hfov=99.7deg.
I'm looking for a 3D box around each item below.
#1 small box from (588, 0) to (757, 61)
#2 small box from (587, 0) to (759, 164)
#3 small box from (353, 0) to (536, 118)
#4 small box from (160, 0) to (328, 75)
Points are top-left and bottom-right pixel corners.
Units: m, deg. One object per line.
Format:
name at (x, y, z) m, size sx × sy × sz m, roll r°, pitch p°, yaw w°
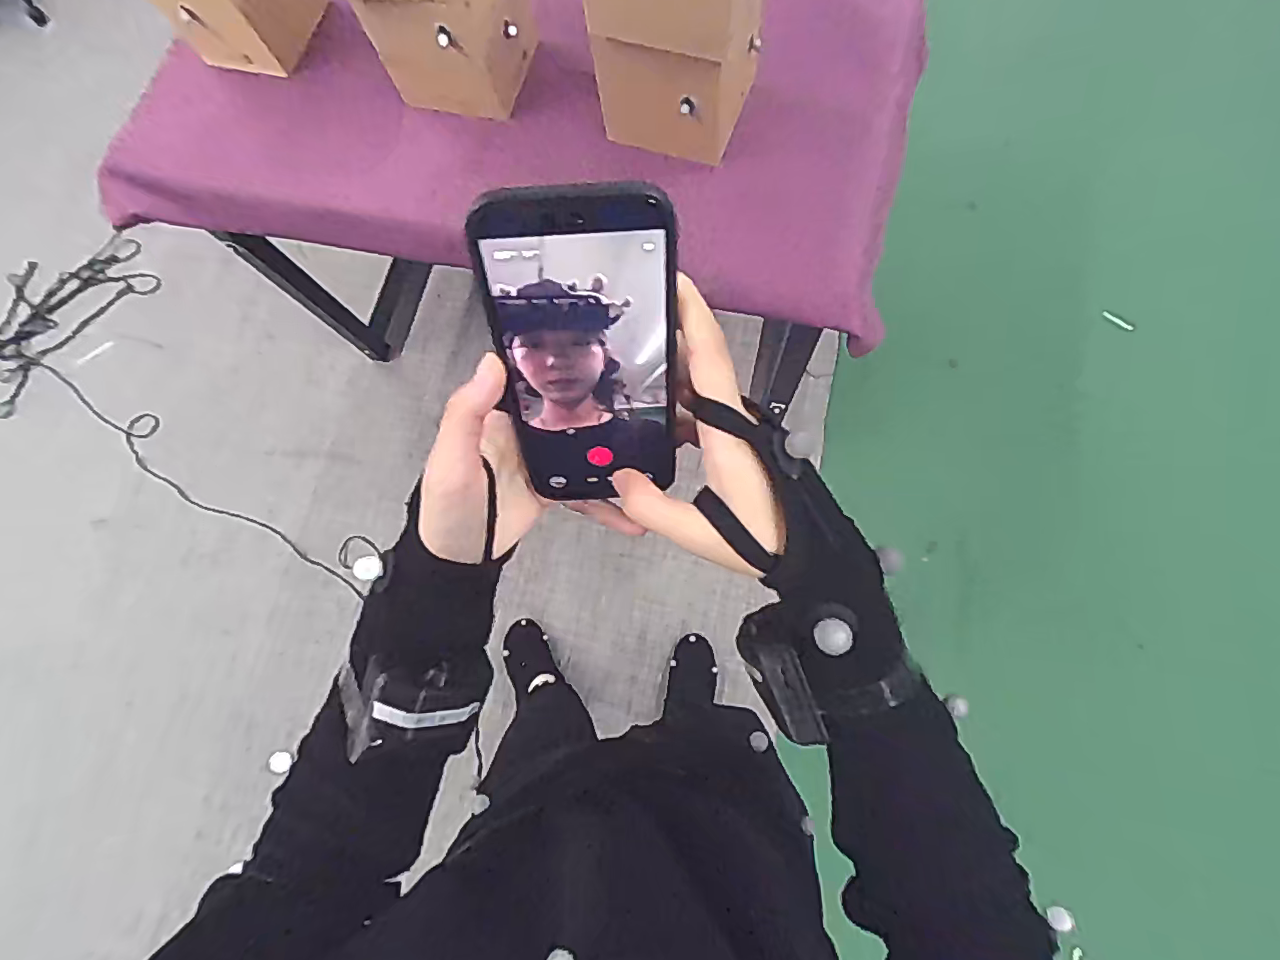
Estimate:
small box at (0.041, -0.593, 0.570) m, size 0.179 × 0.176 × 0.168 m, roll 21°, pitch 79°, yaw 9°
small box at (0.052, -0.570, 0.732) m, size 0.179 × 0.176 × 0.168 m, roll 21°, pitch 79°, yaw 10°
small box at (-0.269, -0.669, 0.786) m, size 0.179 × 0.176 × 0.168 m, roll 15°, pitch 78°, yaw 9°
small box at (-0.636, -0.787, 0.851) m, size 0.168 × 0.176 × 0.179 m, roll 15°, pitch 78°, yaw 9°
